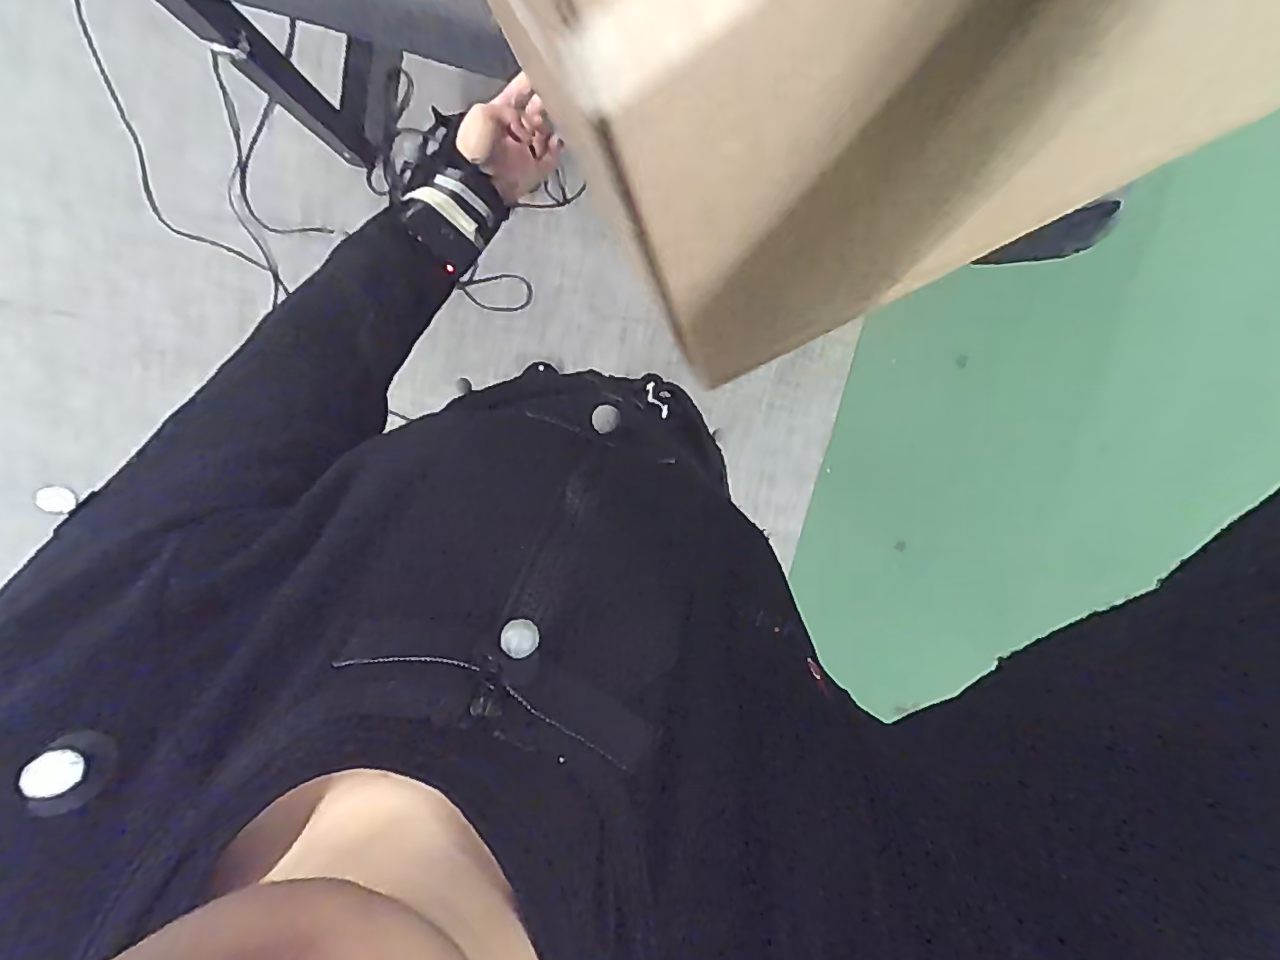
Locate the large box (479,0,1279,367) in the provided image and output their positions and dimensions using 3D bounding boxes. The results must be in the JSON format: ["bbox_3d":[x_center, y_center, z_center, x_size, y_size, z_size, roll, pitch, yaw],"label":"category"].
[{"bbox_3d":[0.054,-0.336,0.238,0.320,0.320,0.408,-29,60,5],"label":"large box"}]
